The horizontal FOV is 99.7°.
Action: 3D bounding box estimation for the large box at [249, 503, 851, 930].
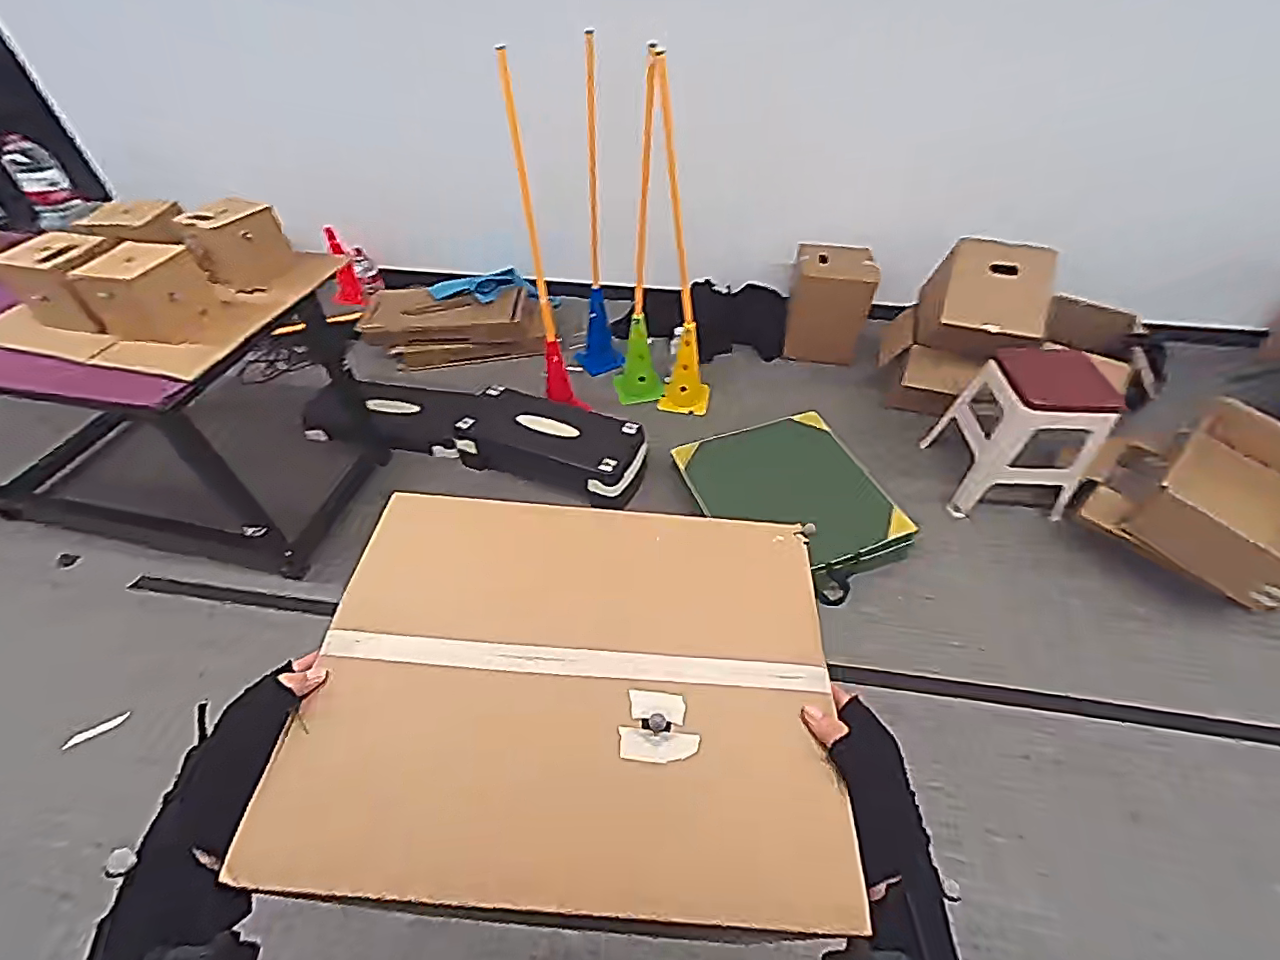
[{"bbox_3d":[-0.060,0.250,0.559,0.408,0.320,0.320,5,50,-1],"label":"large box"}]
